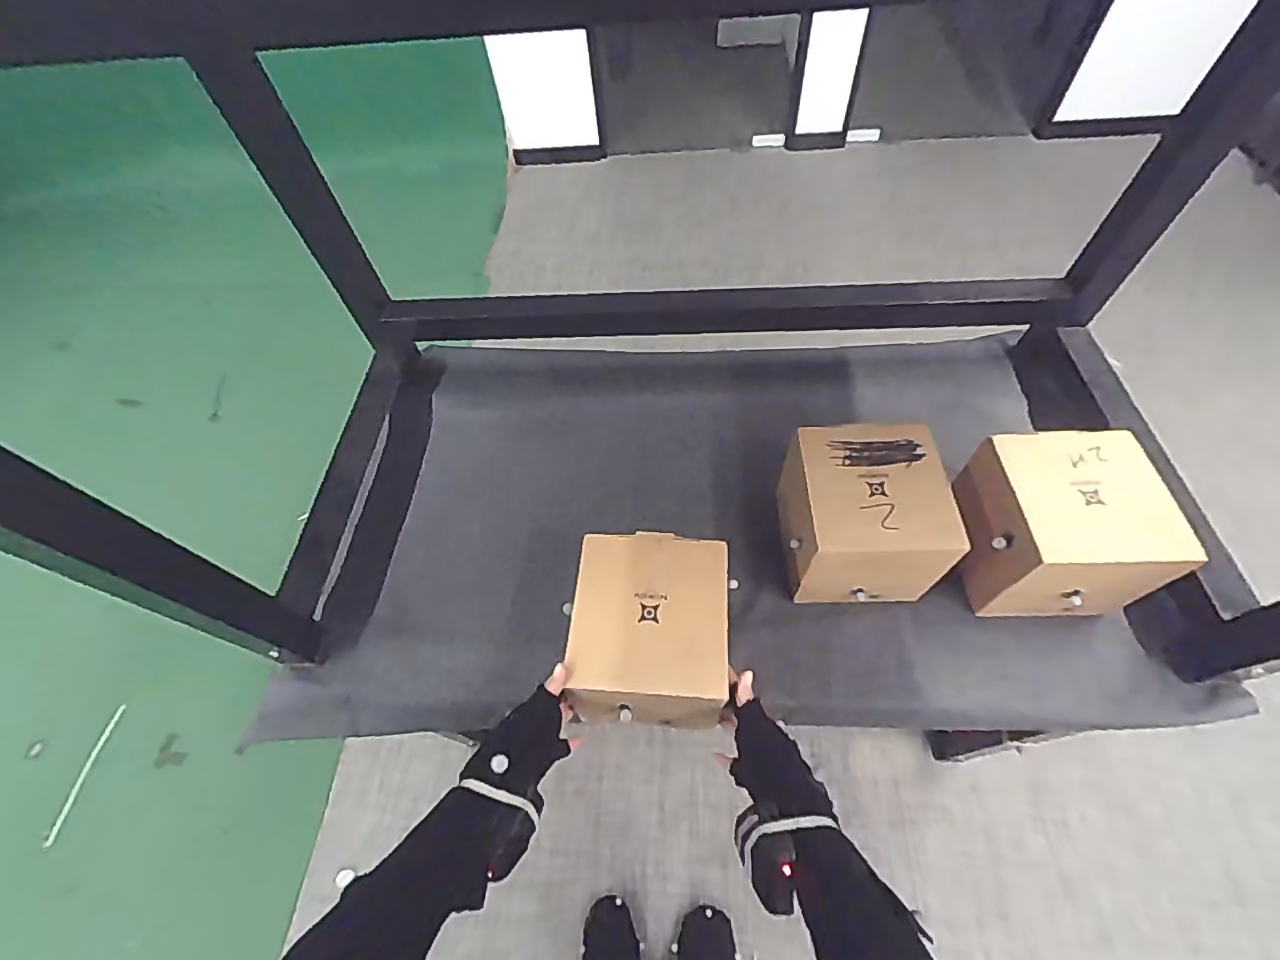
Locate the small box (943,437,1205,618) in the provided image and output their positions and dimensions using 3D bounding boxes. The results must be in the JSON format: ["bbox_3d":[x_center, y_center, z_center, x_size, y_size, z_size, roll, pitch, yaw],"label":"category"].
[{"bbox_3d":[0.516,0.067,0.680,0.168,0.176,0.179,-2,56,4],"label":"small box"}]
